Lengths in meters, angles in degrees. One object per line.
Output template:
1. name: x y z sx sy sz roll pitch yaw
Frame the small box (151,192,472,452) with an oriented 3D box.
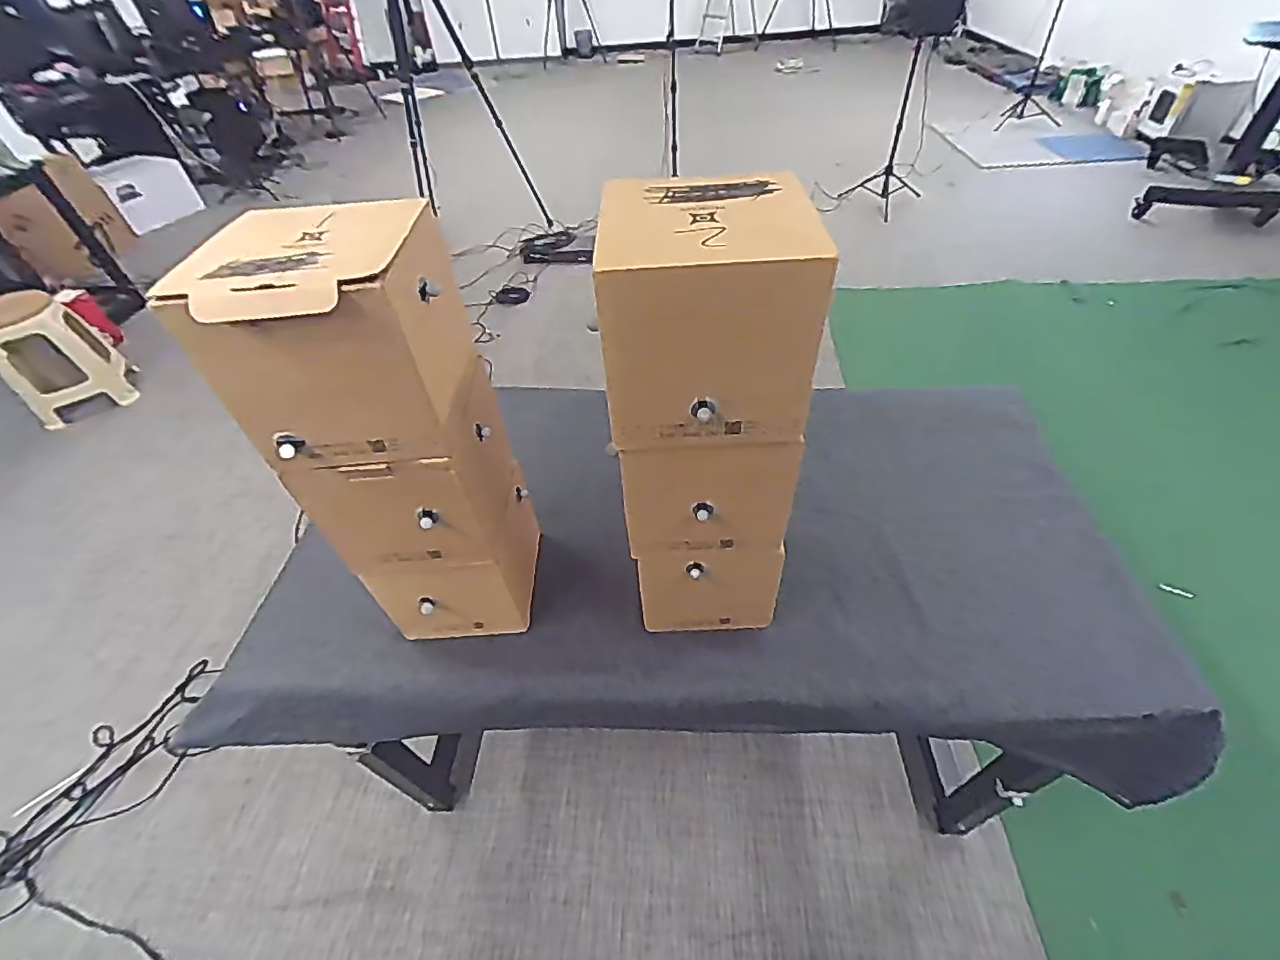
1. small box: -0.261 -0.138 0.490 0.168 0.176 0.179 -4 45 -2

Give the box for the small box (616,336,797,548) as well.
1. small box: 0.064 -0.037 0.595 0.168 0.176 0.179 -2 46 1

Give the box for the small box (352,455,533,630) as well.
1. small box: -0.245 0.089 0.725 0.168 0.176 0.179 -4 46 0

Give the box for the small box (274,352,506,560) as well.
1. small box: -0.255 -0.022 0.607 0.168 0.176 0.179 -3 45 -1

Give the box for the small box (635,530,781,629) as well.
1. small box: 0.079 0.077 0.715 0.168 0.176 0.179 -3 45 2
